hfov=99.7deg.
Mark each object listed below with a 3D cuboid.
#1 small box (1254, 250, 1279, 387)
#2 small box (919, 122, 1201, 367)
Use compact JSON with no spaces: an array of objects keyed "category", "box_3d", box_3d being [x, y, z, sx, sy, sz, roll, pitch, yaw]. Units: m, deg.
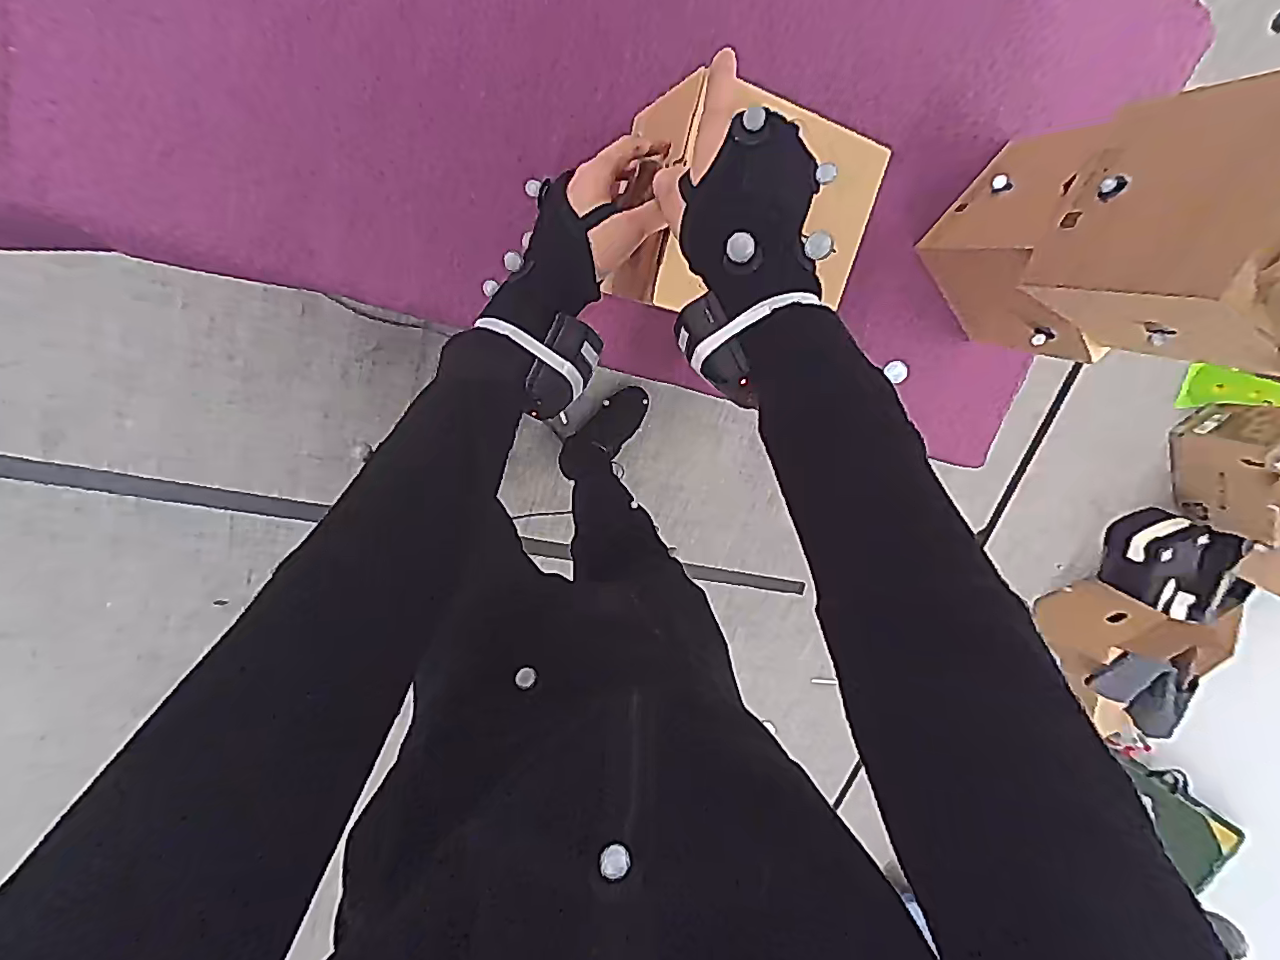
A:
[{"category":"small box","box_3d":[0.562,-0.134,0.334,0.168,0.176,0.179,35,100,-26]},{"category":"small box","box_3d":[0.469,-0.262,0.621,0.179,0.176,0.168,39,96,-28]}]
